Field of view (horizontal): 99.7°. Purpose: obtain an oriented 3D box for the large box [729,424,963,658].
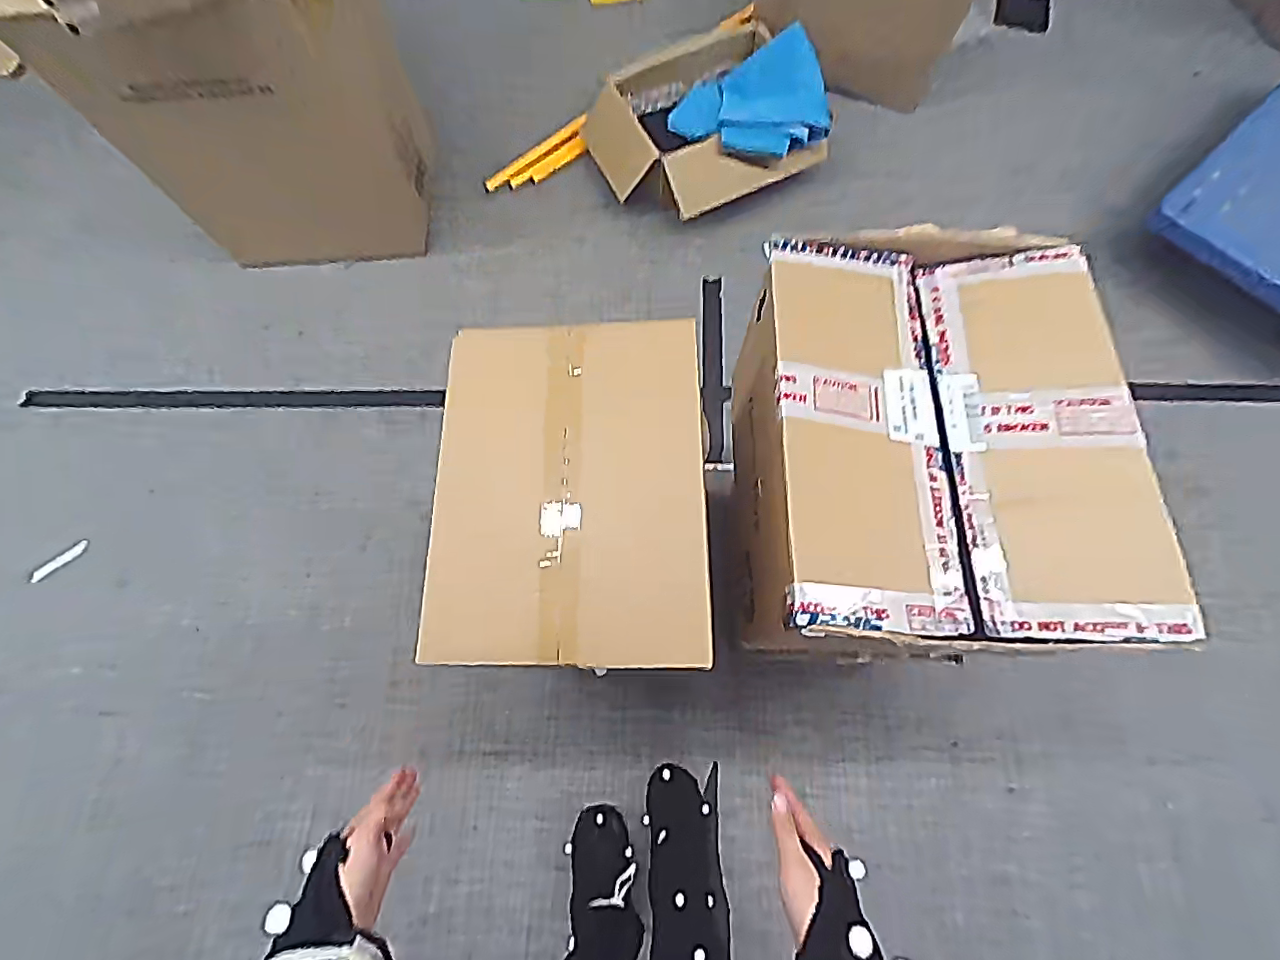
[{"bbox_3d":[0.360,0.133,1.060,0.320,0.320,0.408,-1,72,1],"label":"large box"}]
